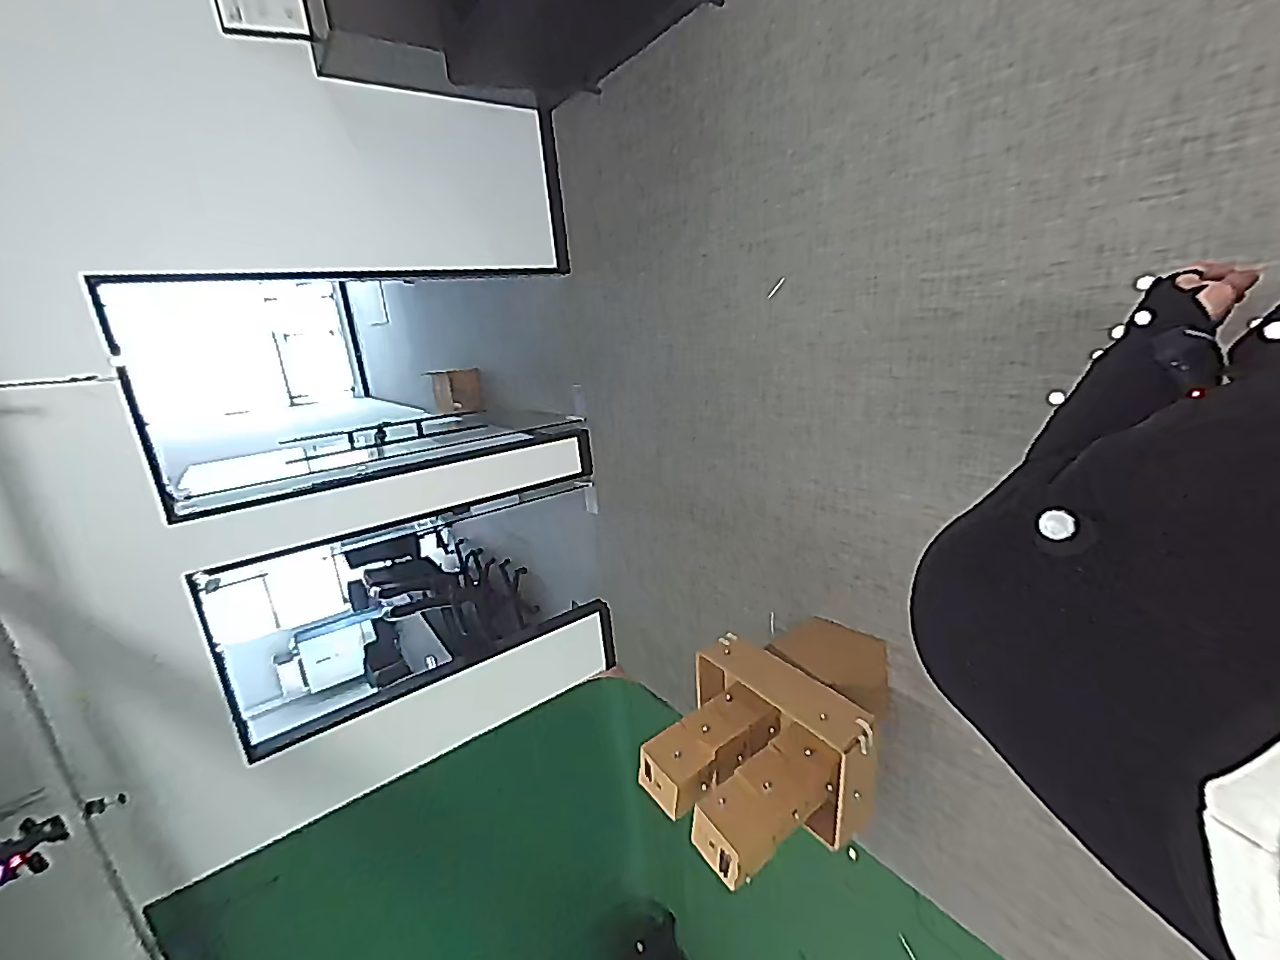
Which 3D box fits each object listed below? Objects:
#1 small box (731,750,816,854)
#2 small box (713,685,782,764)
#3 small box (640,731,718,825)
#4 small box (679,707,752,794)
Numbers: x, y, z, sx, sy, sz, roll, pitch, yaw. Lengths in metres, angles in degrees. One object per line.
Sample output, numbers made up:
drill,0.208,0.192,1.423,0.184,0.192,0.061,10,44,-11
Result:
small box,0.401,0.957,1.626,0.179,0.176,0.168,33,128,45
small box,0.377,0.856,1.910,0.179,0.176,0.168,18,118,50
small box,0.122,0.936,1.724,0.179,0.176,0.168,27,124,44
small box,0.252,0.895,1.815,0.179,0.176,0.168,16,115,49
